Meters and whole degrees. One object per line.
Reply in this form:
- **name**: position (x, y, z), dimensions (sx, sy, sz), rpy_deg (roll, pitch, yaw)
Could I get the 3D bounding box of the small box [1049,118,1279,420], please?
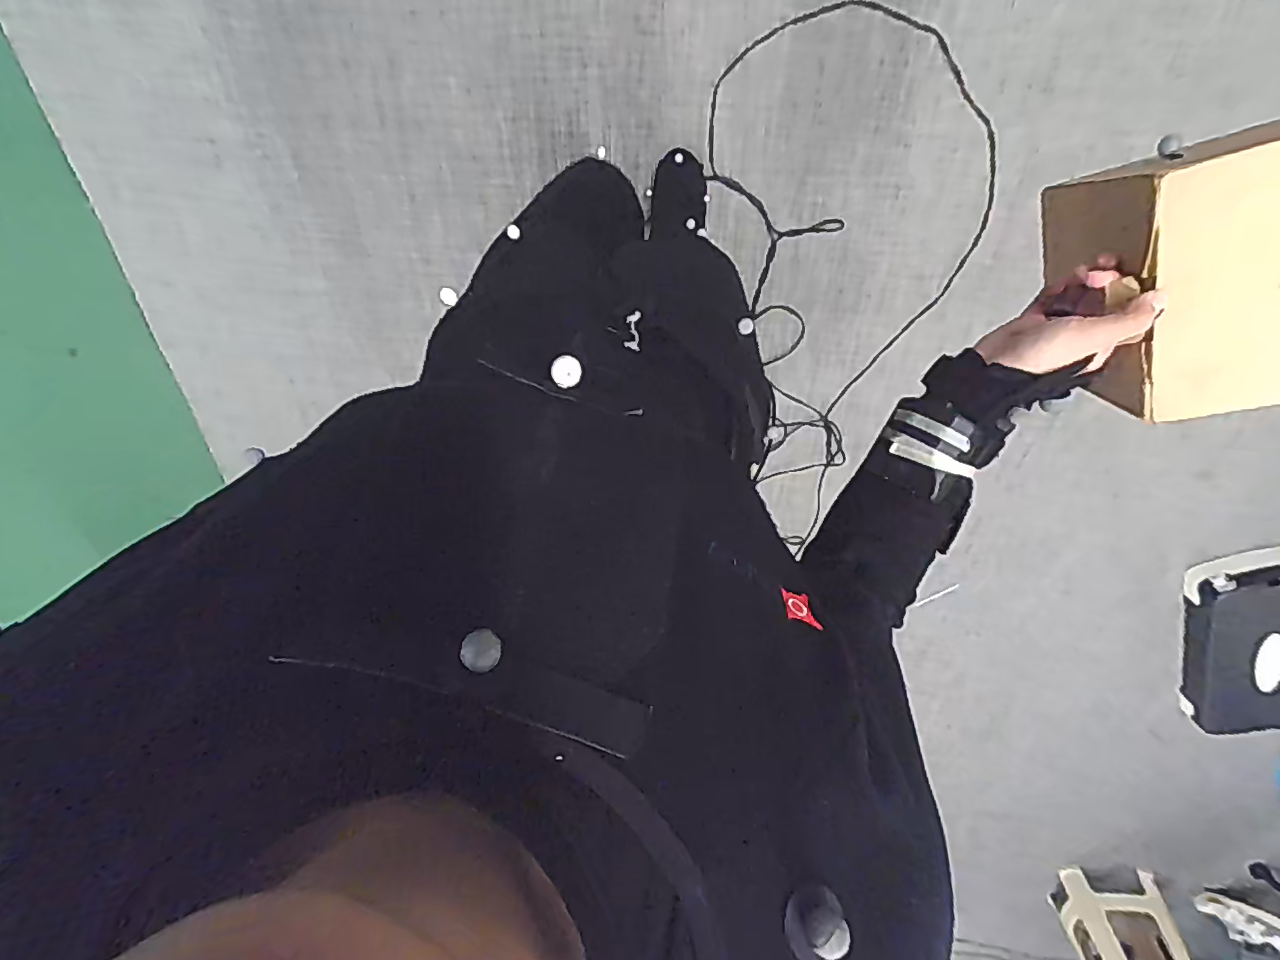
- **small box**: position (0.432, -0.161, 0.398), dimensions (0.179, 0.176, 0.168), rpy_deg (-11, 112, 18)
